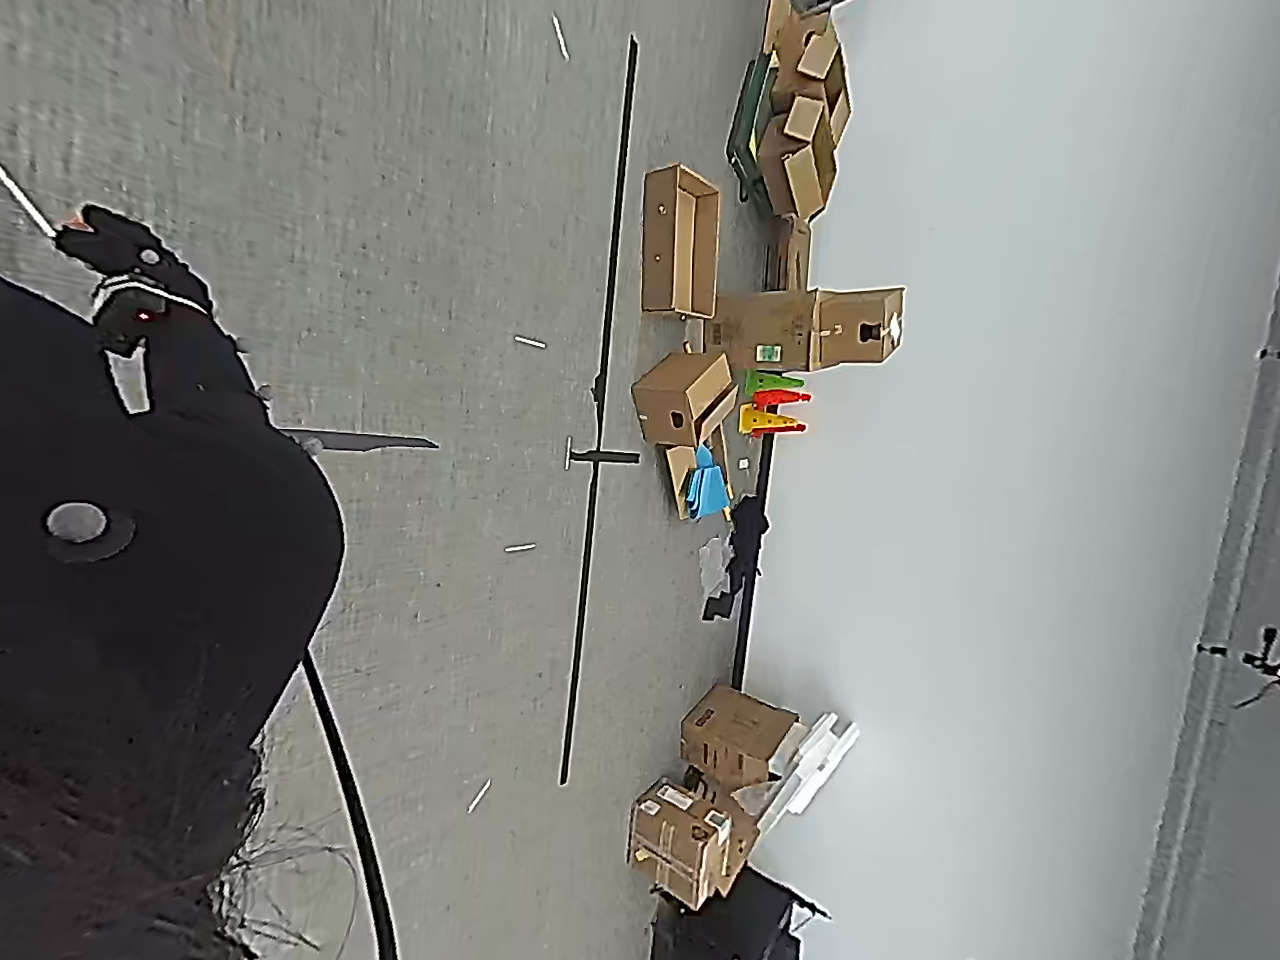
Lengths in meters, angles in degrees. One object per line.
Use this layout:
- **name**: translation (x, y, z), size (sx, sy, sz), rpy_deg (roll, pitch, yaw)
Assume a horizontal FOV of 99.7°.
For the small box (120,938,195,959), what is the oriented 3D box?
- **small box**: translation (-1.165, 1.228, 1.251), size (0.179, 0.176, 0.168), rpy_deg (22, 80, -56)
